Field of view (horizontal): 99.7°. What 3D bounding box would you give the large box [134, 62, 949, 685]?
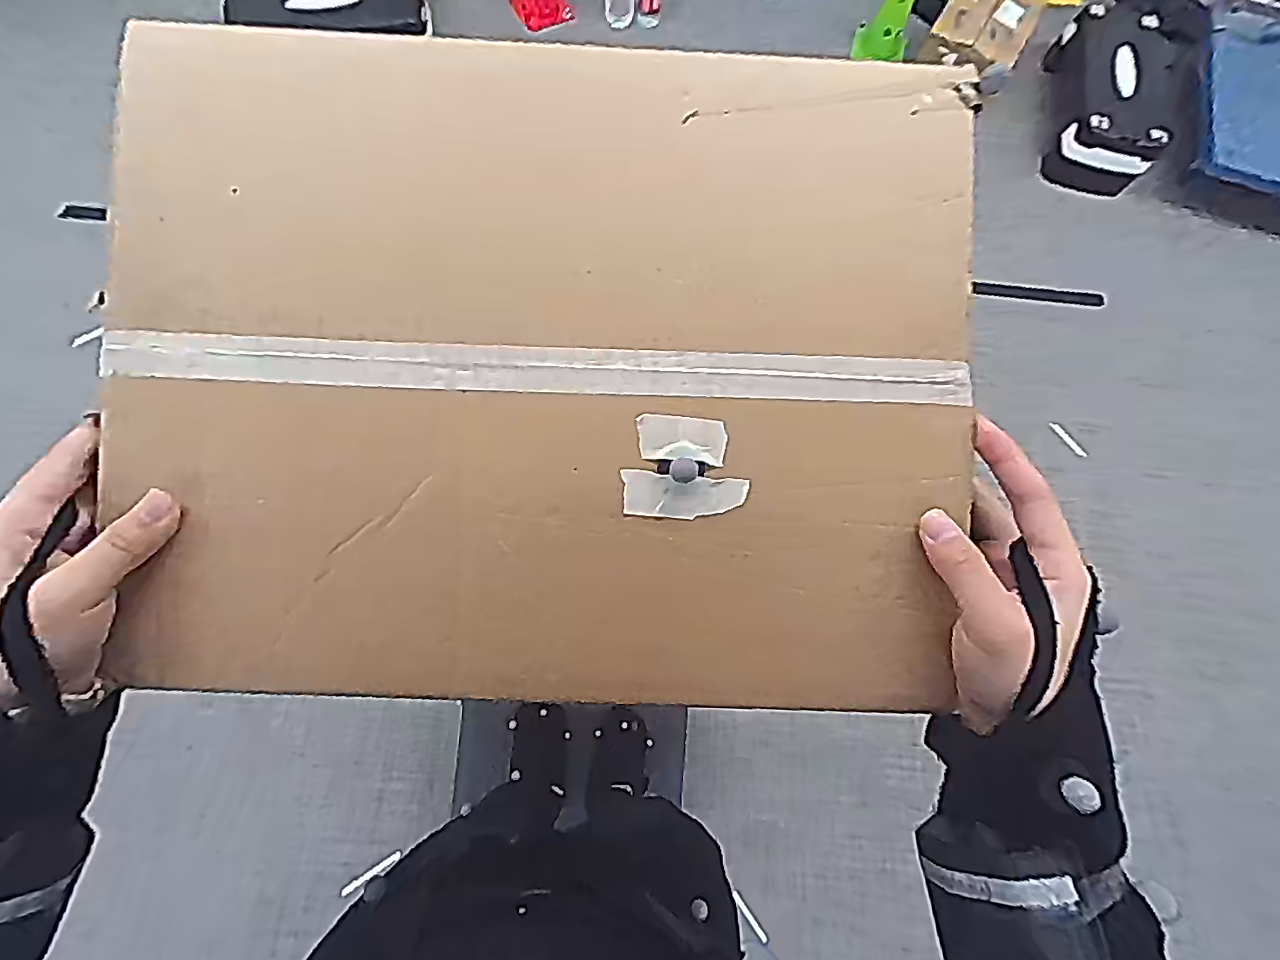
[{"bbox_3d":[-0.048,-0.049,0.420,0.408,0.320,0.320,2,89,-1],"label":"large box"}]
